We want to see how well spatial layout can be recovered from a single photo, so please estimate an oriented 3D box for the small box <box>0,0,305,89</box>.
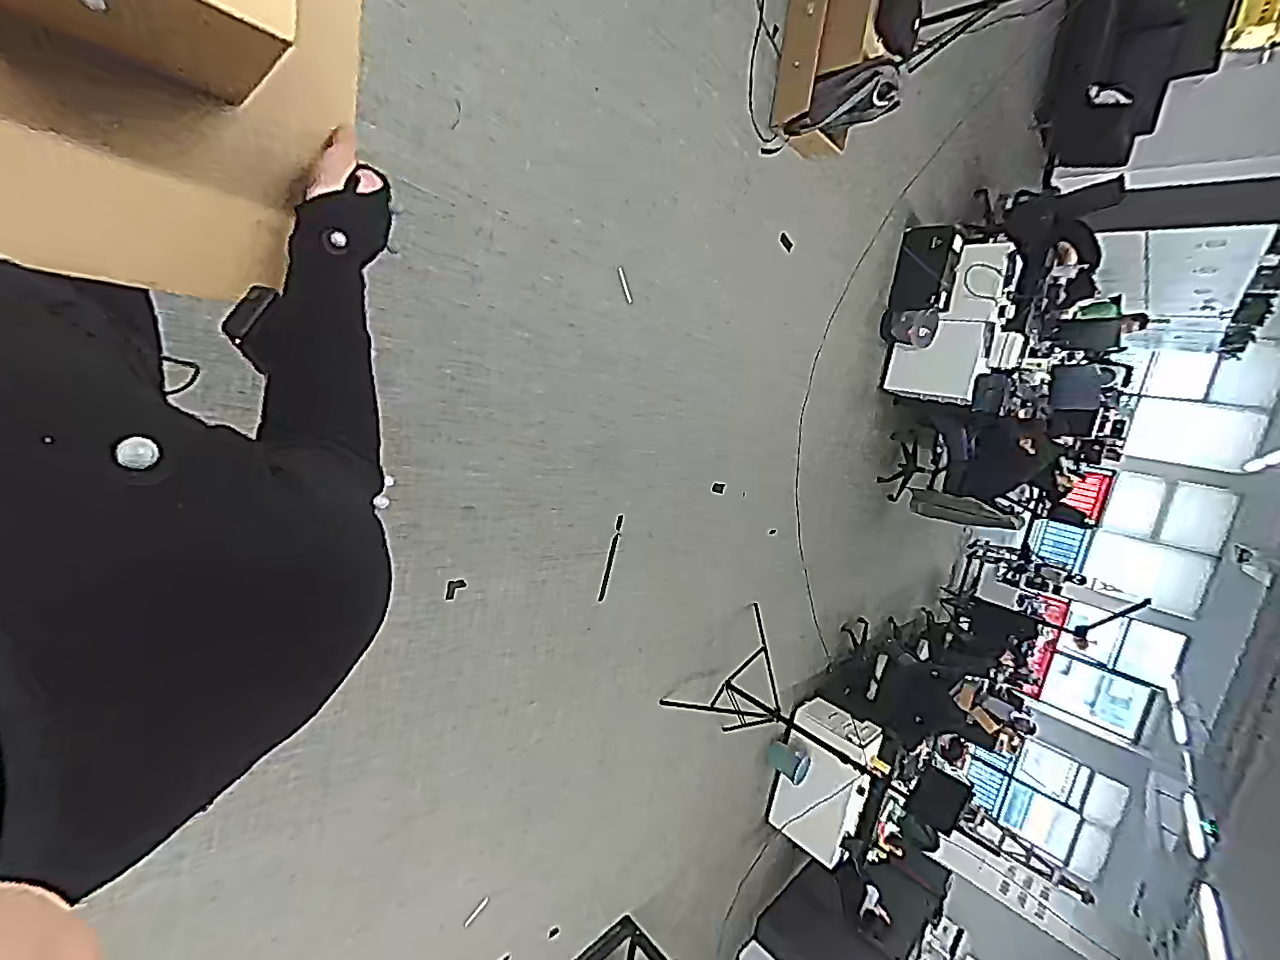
[{"bbox_3d":[-0.336,-0.390,0.350,0.179,0.176,0.168,-1,105,-45],"label":"small box"}]
